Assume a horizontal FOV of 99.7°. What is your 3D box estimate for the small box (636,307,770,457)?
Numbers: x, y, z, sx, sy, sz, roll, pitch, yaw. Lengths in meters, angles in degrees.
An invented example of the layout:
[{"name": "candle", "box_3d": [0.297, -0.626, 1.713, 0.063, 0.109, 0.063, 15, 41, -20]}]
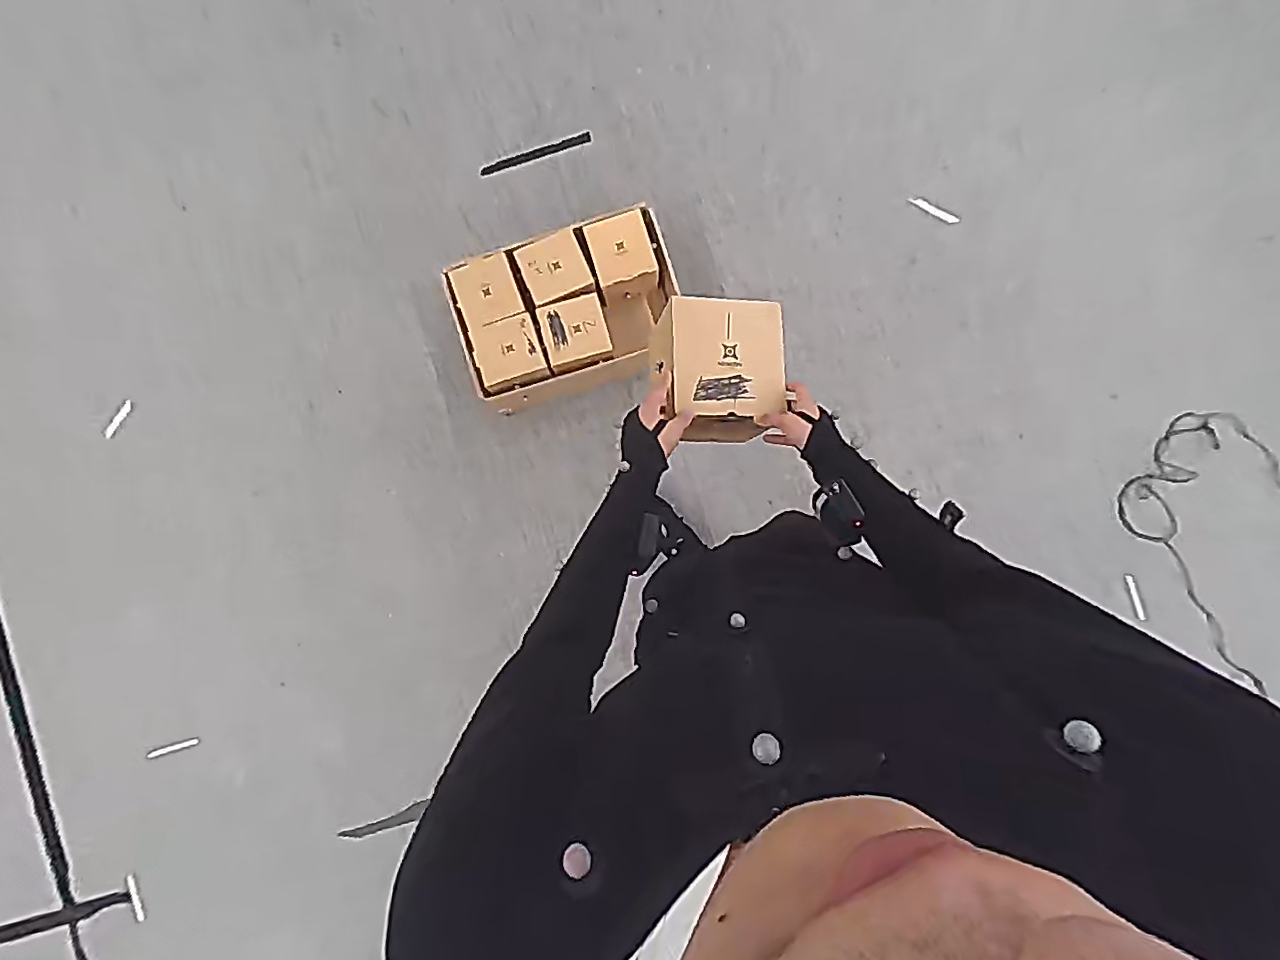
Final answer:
[{"name": "small box", "box_3d": [0.091, -0.139, 0.839, 0.168, 0.176, 0.179, 4, 78, -11]}]
